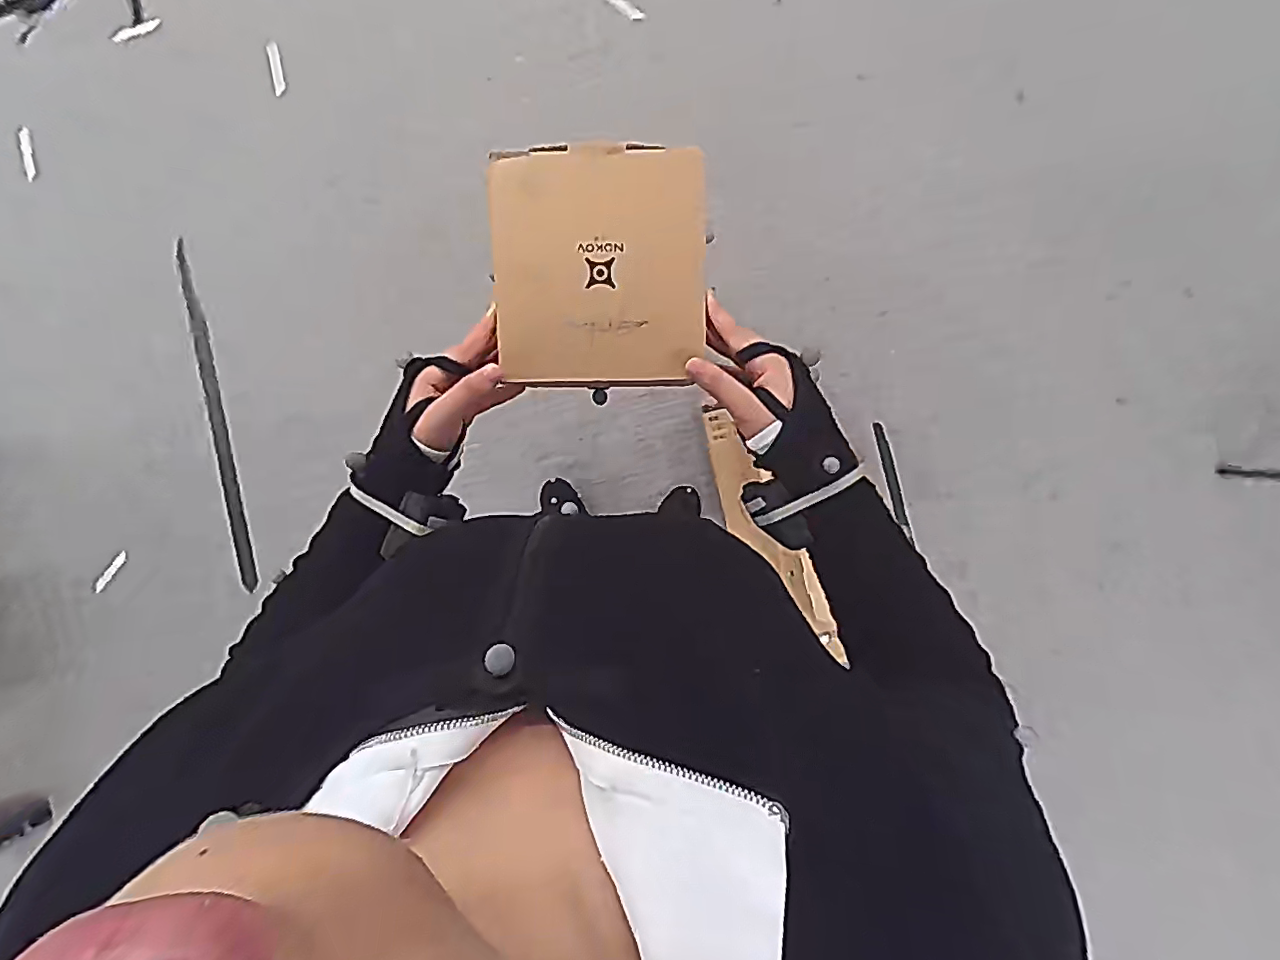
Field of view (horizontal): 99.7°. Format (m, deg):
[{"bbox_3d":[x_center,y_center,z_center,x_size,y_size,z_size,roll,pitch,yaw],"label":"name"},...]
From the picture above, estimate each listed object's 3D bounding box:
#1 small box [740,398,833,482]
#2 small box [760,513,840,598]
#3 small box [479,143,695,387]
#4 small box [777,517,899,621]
[{"bbox_3d":[0.341,-0.089,1.296,0.179,0.176,0.168,-11,90,4],"label":"small box"},{"bbox_3d":[0.397,0.174,1.294,0.179,0.176,0.168,-9,89,4],"label":"small box"},{"bbox_3d":[-0.040,-0.178,0.499,0.168,0.176,0.179,-2,99,1],"label":"small box"},{"bbox_3d":[0.404,0.177,1.128,0.179,0.176,0.168,-13,89,3],"label":"small box"}]
